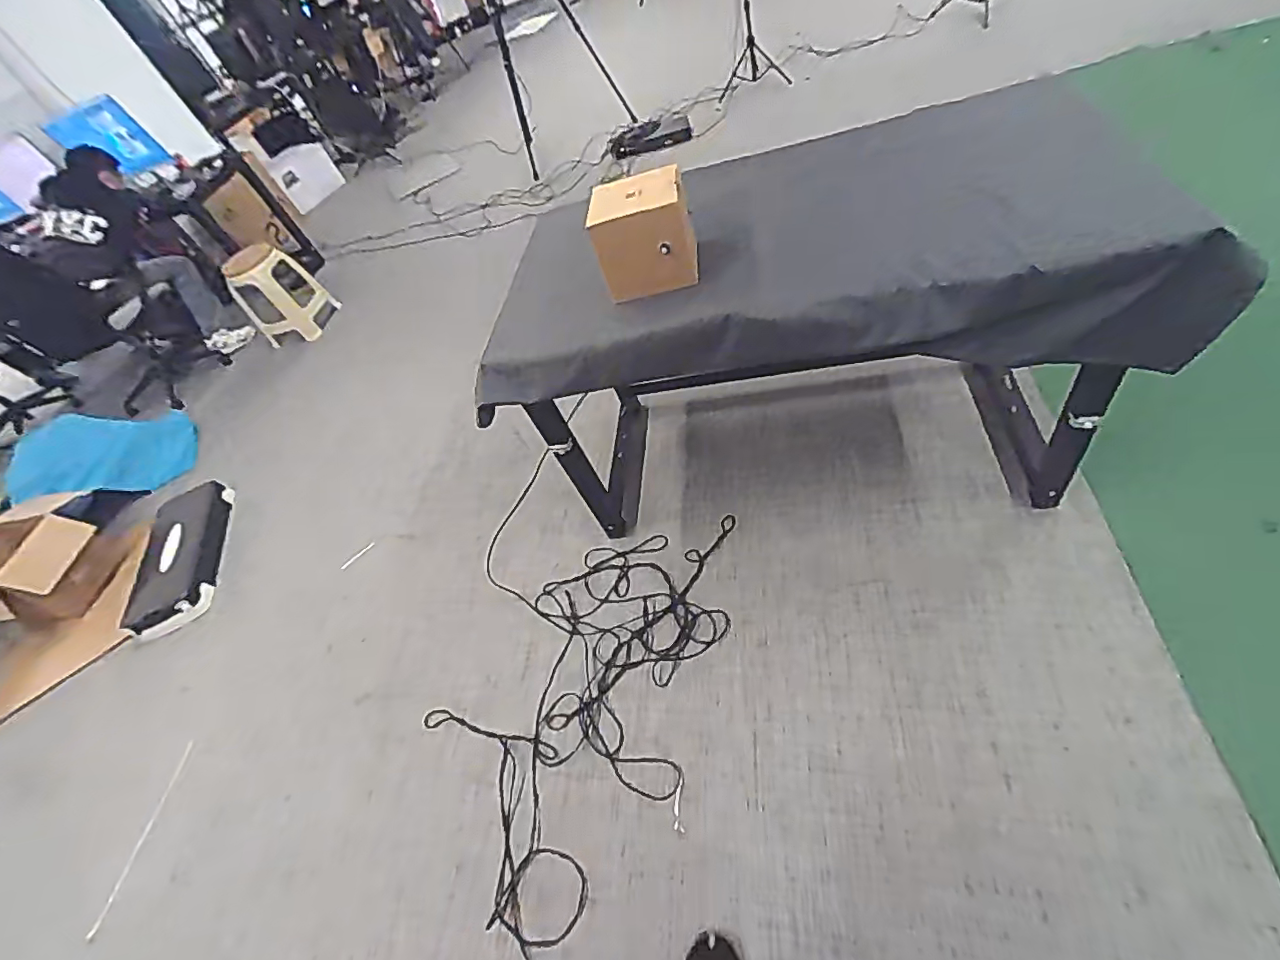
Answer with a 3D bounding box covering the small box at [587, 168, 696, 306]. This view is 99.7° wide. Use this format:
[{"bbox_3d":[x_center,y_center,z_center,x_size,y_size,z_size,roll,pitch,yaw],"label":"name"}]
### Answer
[{"bbox_3d":[0.012,-0.474,1.068,0.179,0.176,0.168,-10,49,15],"label":"small box"}]
